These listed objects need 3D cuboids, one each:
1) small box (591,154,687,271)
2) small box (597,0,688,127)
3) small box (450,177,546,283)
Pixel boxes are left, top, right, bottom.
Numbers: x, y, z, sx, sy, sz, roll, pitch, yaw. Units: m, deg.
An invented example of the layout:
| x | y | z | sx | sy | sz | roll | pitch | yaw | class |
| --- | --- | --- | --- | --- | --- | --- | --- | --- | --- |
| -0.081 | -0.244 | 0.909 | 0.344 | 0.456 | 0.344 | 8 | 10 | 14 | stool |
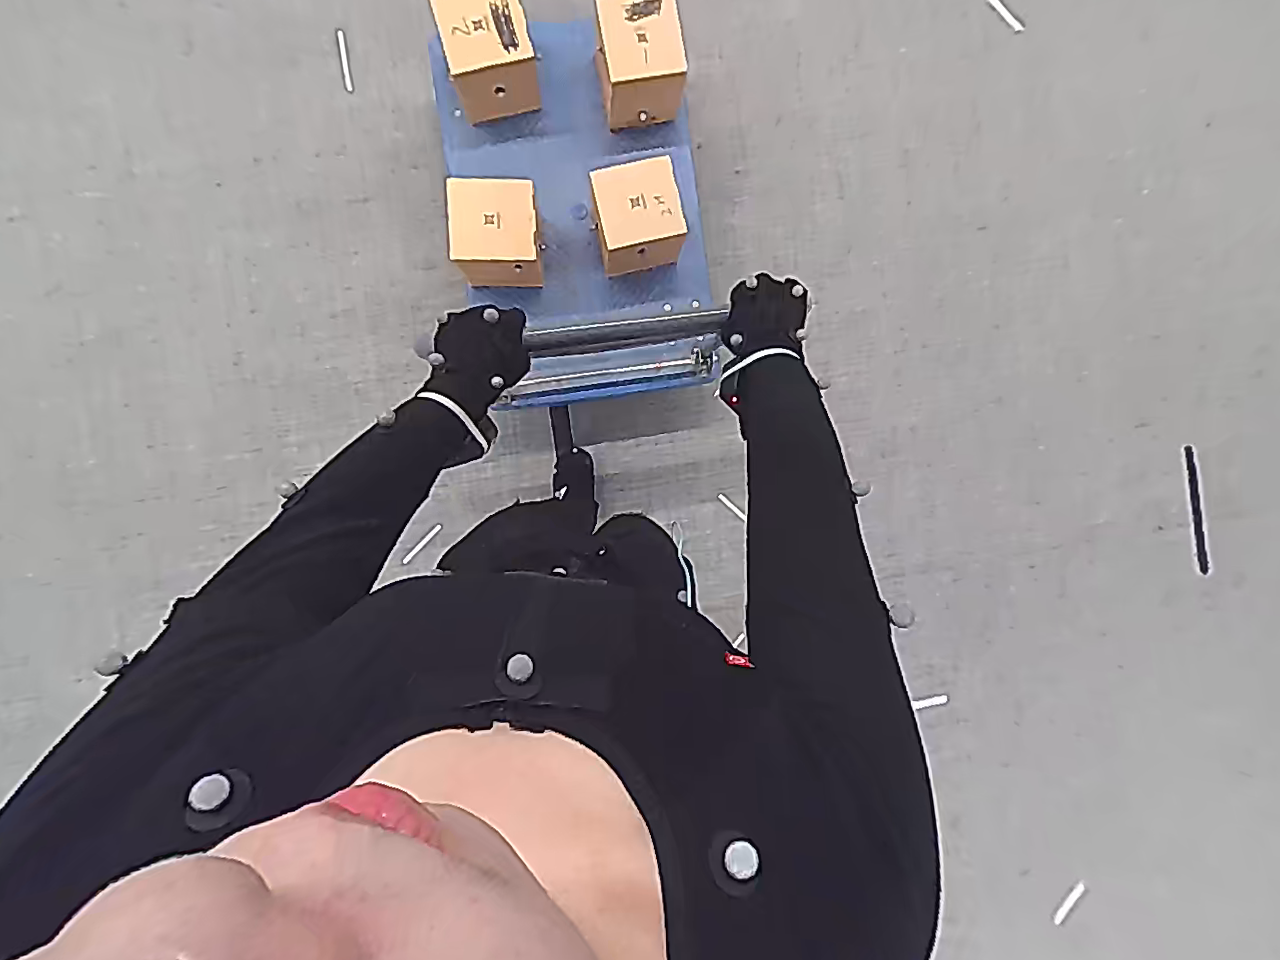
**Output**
| x | y | z | sx | sy | sz | roll | pitch | yaw | class |
| --- | --- | --- | --- | --- | --- | --- | --- | --- | --- |
| -0.005 | -0.587 | 1.210 | 0.179 | 0.176 | 0.168 | -14 | 93 | -4 | small box |
| -0.001 | -0.927 | 1.196 | 0.168 | 0.176 | 0.179 | -11 | 94 | -4 | small box |
| -0.305 | -0.541 | 1.189 | 0.179 | 0.176 | 0.168 | -3 | 92 | -6 | small box |
